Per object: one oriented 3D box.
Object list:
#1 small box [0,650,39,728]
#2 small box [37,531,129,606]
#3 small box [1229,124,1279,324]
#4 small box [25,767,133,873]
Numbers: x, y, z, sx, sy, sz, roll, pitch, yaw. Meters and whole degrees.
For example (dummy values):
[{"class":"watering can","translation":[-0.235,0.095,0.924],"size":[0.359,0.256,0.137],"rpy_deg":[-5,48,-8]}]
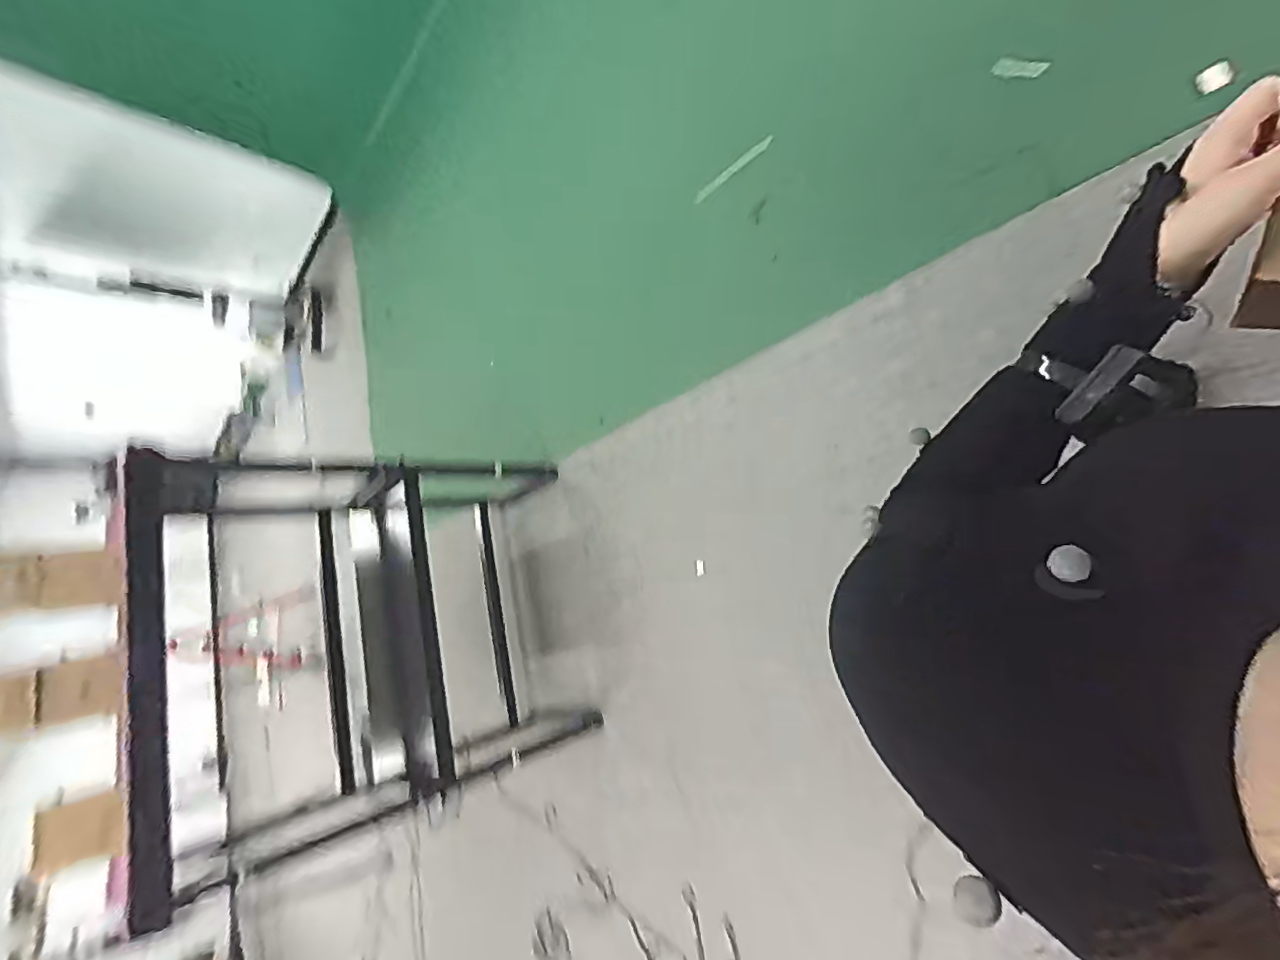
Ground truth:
[{"class":"small box","translation":[-1.555,0.505,1.280],"size":[0.179,0.176,0.168],"rpy_deg":[-18,78,42]},{"class":"small box","translation":[-1.504,0.236,1.462],"size":[0.179,0.176,0.168],"rpy_deg":[-21,75,41]},{"class":"small box","translation":[0.486,-0.194,0.314],"size":[0.168,0.176,0.179],"rpy_deg":[17,104,43]},{"class":"small box","translation":[-1.367,0.822,1.325],"size":[0.179,0.176,0.168],"rpy_deg":[-28,70,41]}]
